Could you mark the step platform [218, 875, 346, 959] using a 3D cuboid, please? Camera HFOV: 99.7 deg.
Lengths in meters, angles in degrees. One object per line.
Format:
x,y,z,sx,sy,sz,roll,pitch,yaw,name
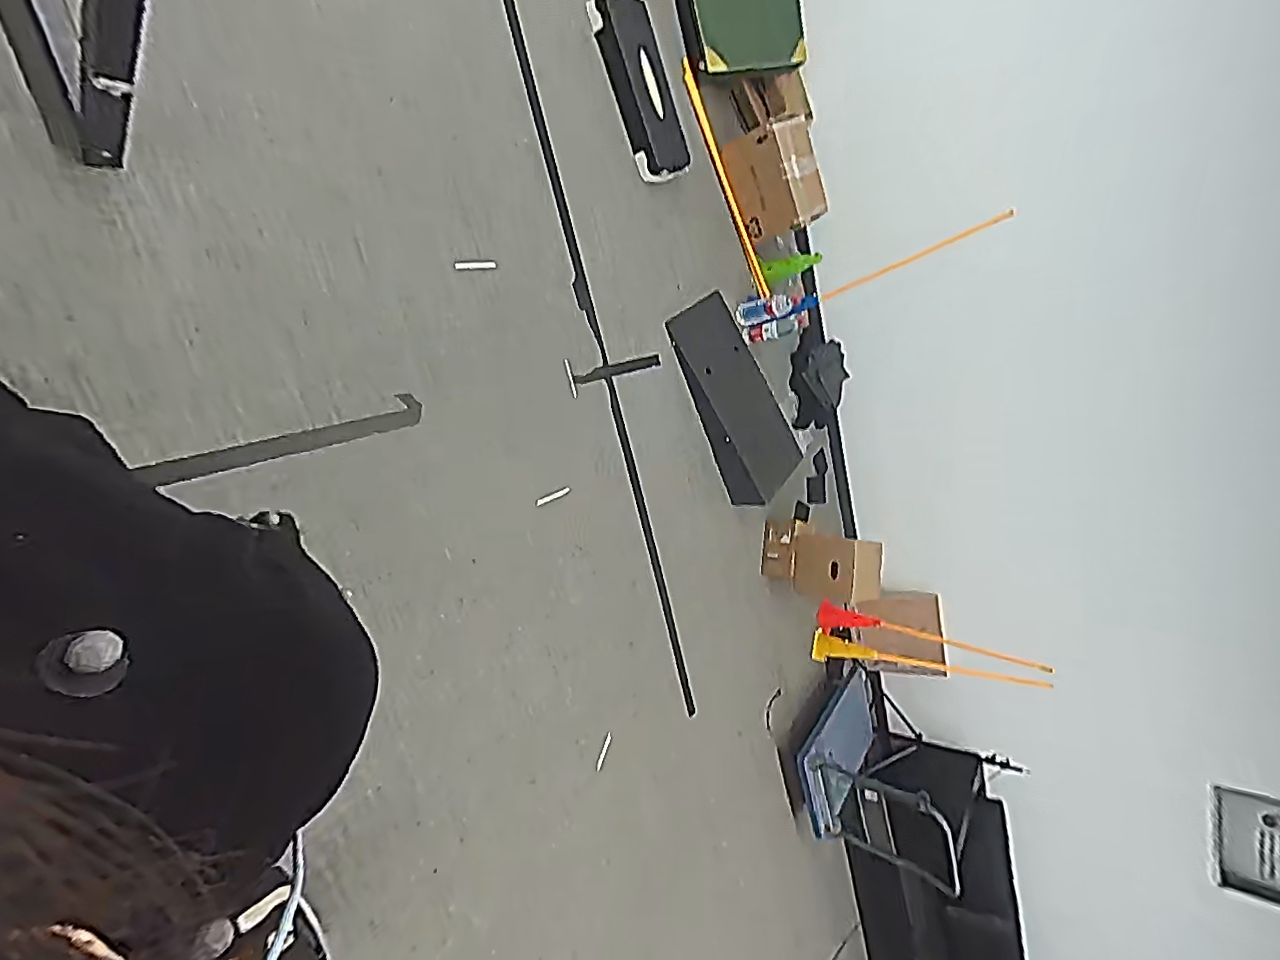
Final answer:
-0.944,1.138,1.032,0.684,0.204,0.286,-18,101,-47,step platform
